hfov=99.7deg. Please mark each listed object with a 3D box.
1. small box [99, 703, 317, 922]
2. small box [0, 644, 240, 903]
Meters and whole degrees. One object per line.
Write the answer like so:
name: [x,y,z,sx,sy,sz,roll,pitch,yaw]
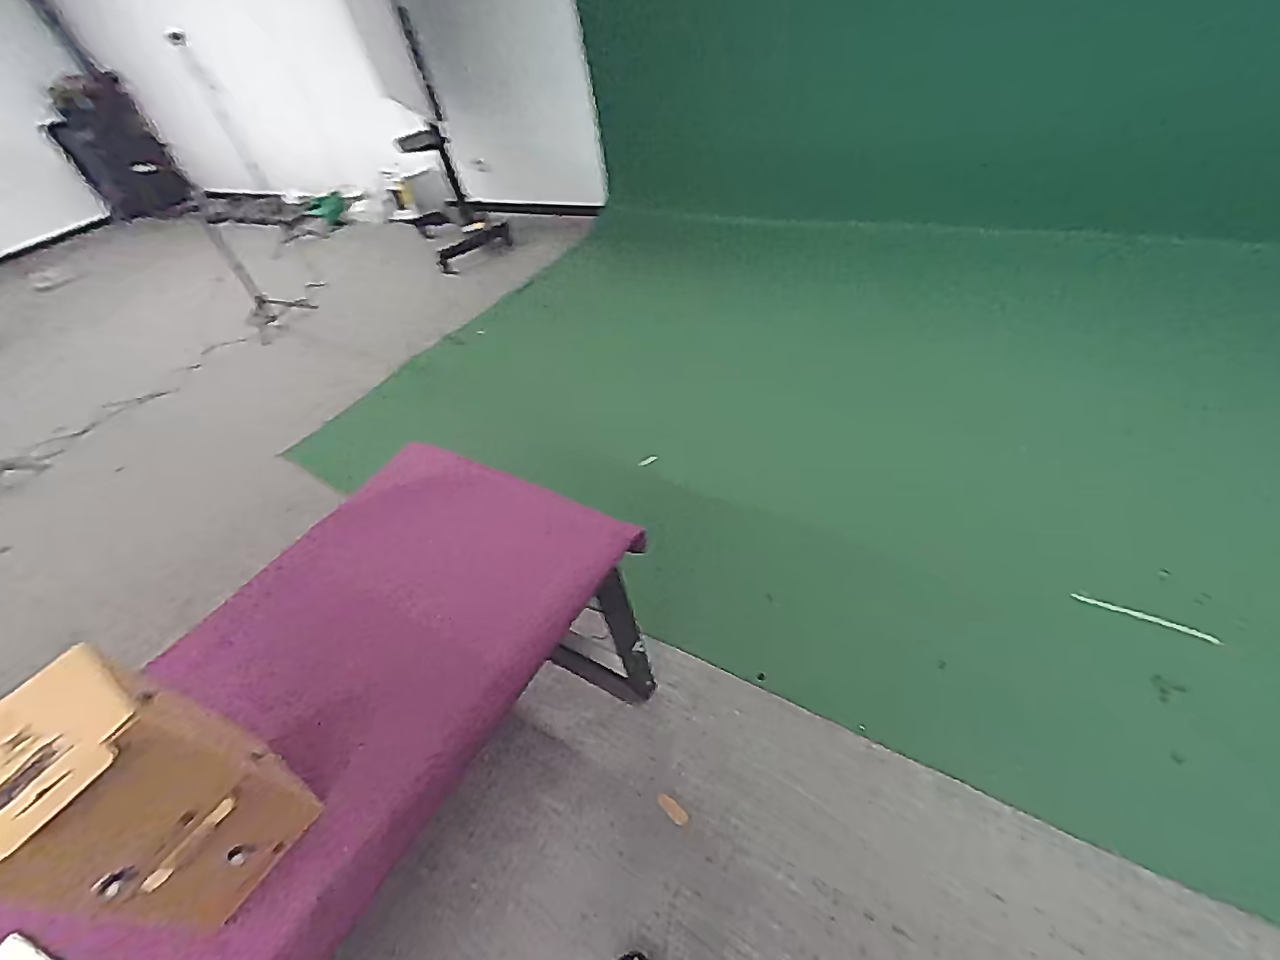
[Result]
small box: [-0.572,0.434,0.706,0.179,0.176,0.168,19,52,28]
small box: [-0.593,0.319,0.588,0.179,0.176,0.168,18,52,30]
